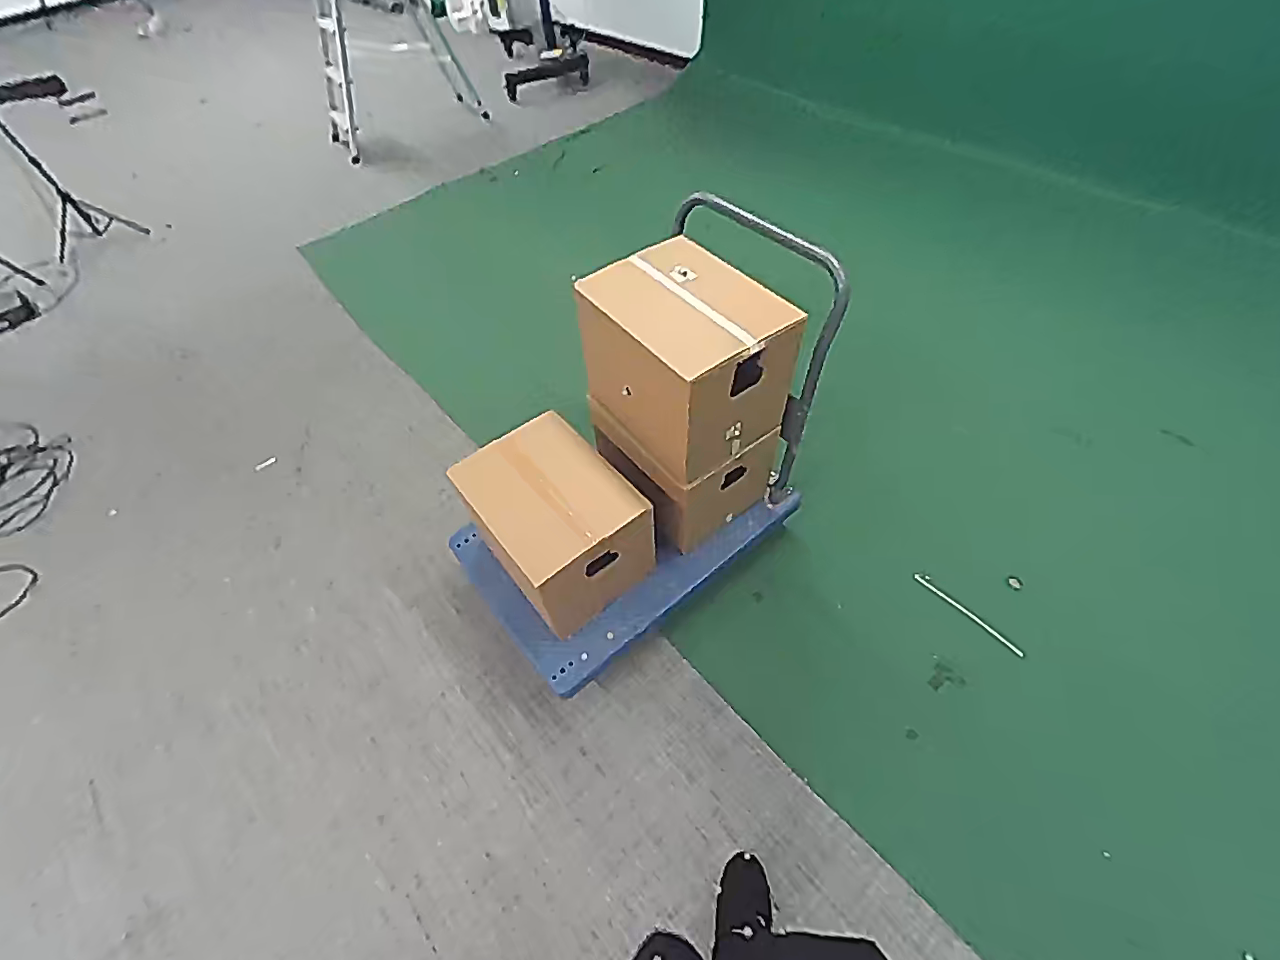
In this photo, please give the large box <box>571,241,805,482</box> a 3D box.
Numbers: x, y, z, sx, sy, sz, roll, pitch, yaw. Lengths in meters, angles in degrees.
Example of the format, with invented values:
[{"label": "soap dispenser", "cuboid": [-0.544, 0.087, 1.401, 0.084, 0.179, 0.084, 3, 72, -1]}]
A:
[{"label": "large box", "cuboid": [0.099, -0.272, 1.231, 0.320, 0.320, 0.408, -31, 56, -20]}]
